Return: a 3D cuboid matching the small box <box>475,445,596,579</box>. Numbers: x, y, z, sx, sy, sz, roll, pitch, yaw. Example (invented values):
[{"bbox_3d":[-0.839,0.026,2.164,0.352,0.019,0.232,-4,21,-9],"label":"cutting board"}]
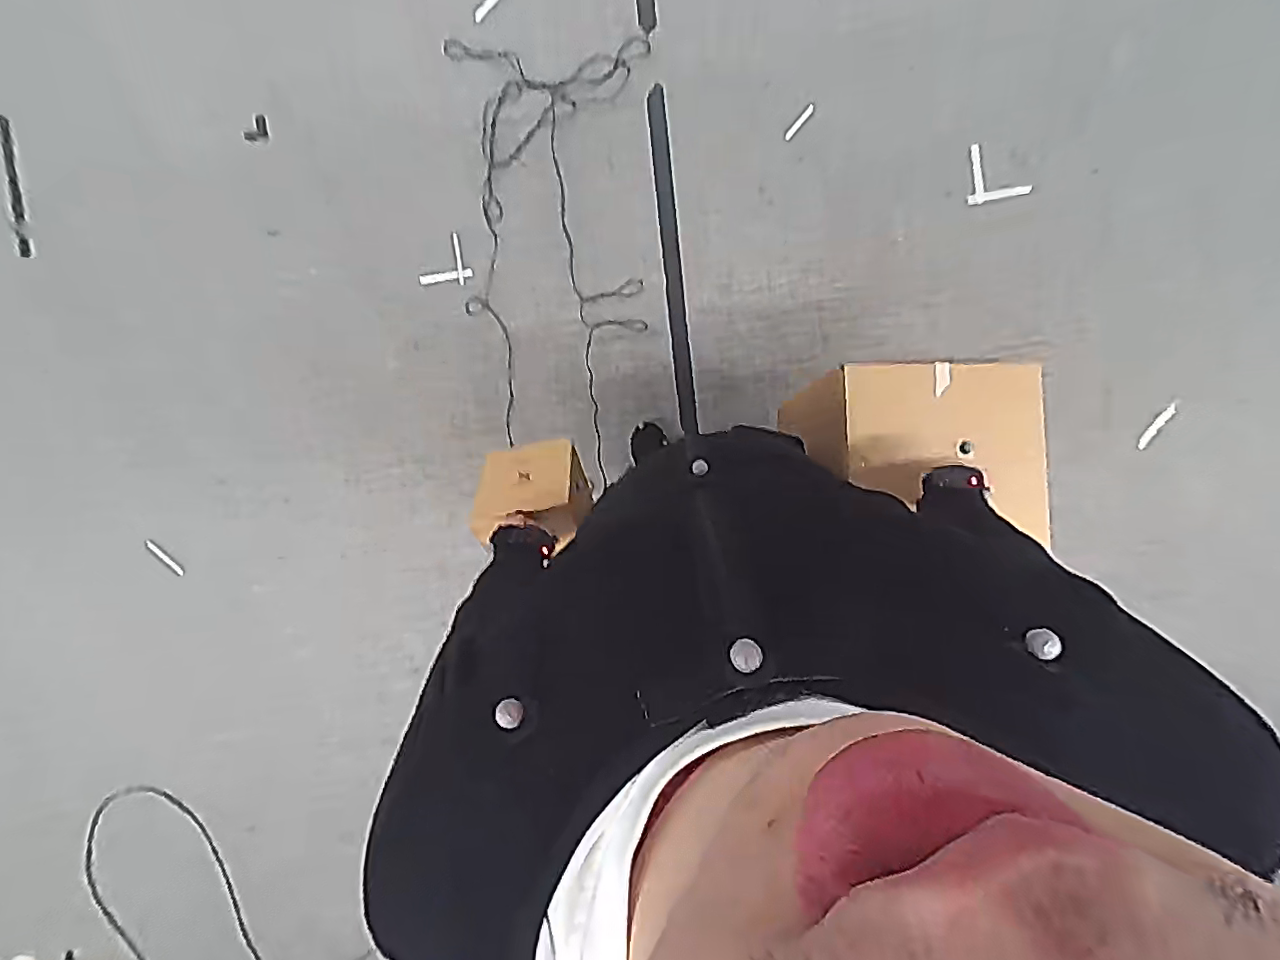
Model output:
[{"bbox_3d":[-0.179,0.065,0.989,0.168,0.179,0.176,-9,129,5],"label":"small box"}]
